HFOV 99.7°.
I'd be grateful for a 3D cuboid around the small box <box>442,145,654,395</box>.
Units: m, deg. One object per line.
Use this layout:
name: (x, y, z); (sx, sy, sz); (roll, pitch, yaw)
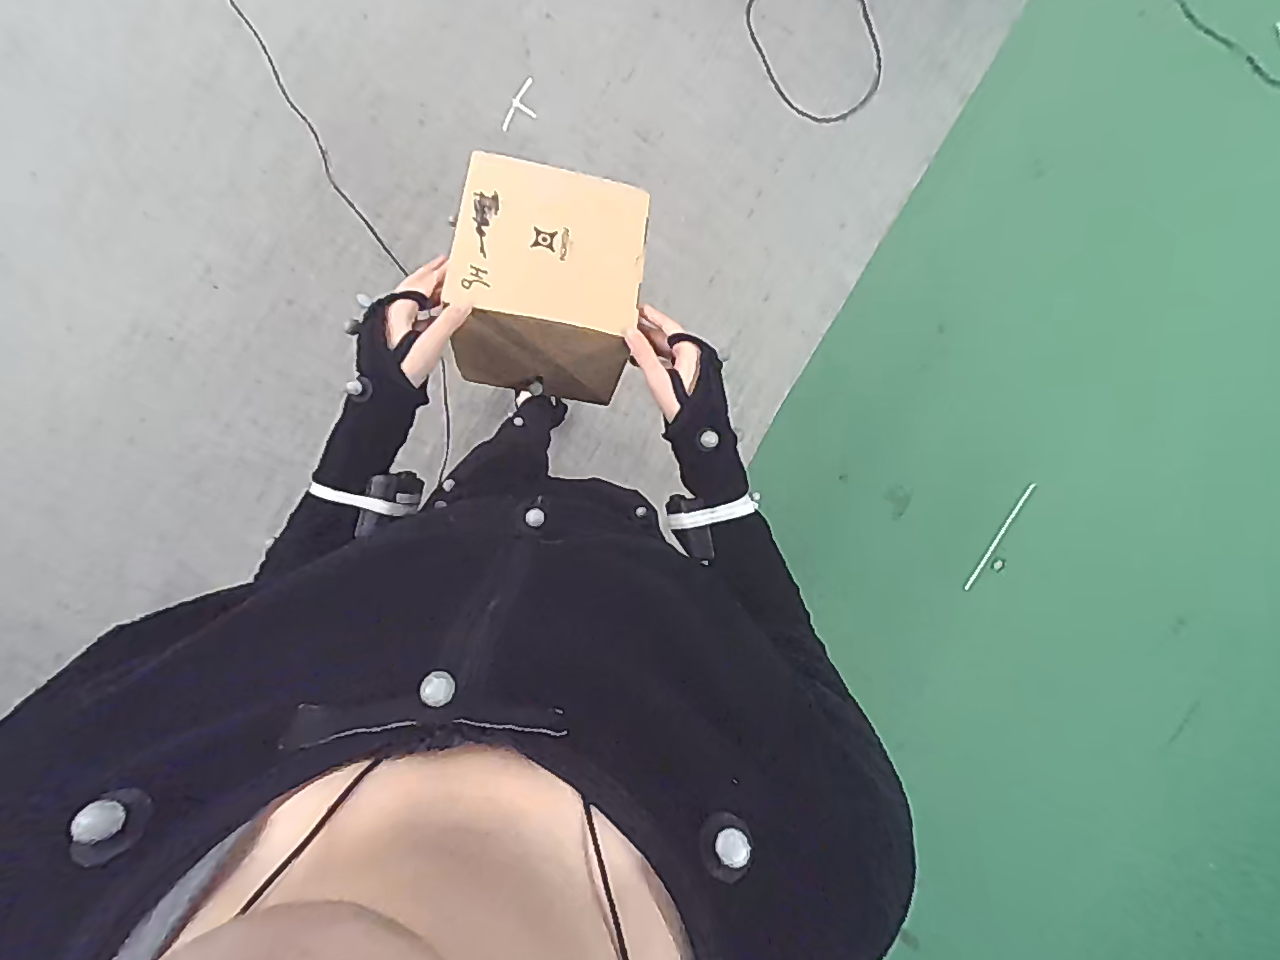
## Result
small box: (-0.096, -0.205, 0.576); (0.179, 0.176, 0.168); (9, 73, -10)
